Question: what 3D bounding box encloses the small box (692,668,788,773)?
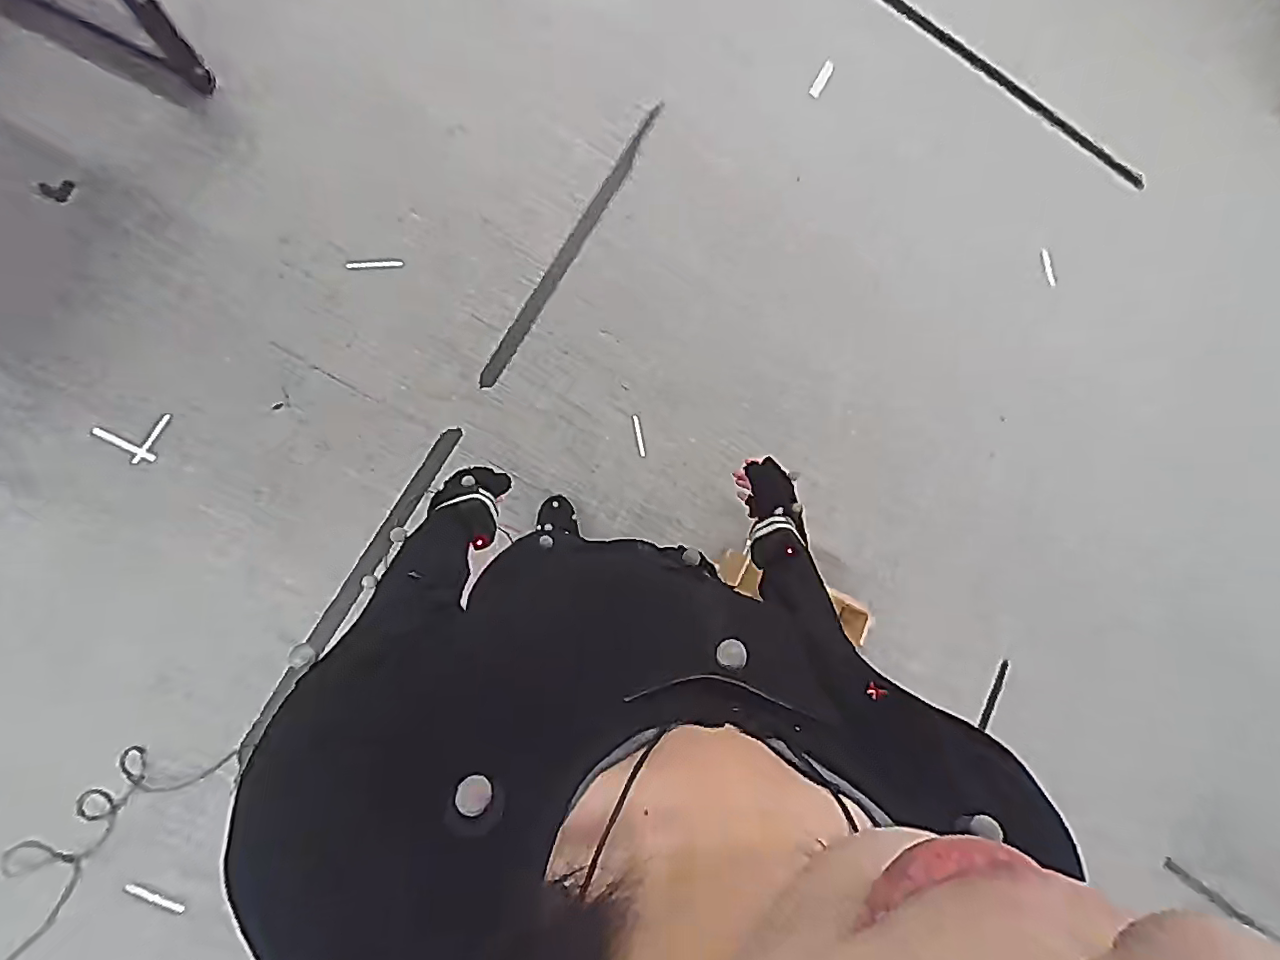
[{"bbox_3d":[0.253,0.623,1.419,0.168,0.176,0.179,28,79,-7],"label":"small box"}]
